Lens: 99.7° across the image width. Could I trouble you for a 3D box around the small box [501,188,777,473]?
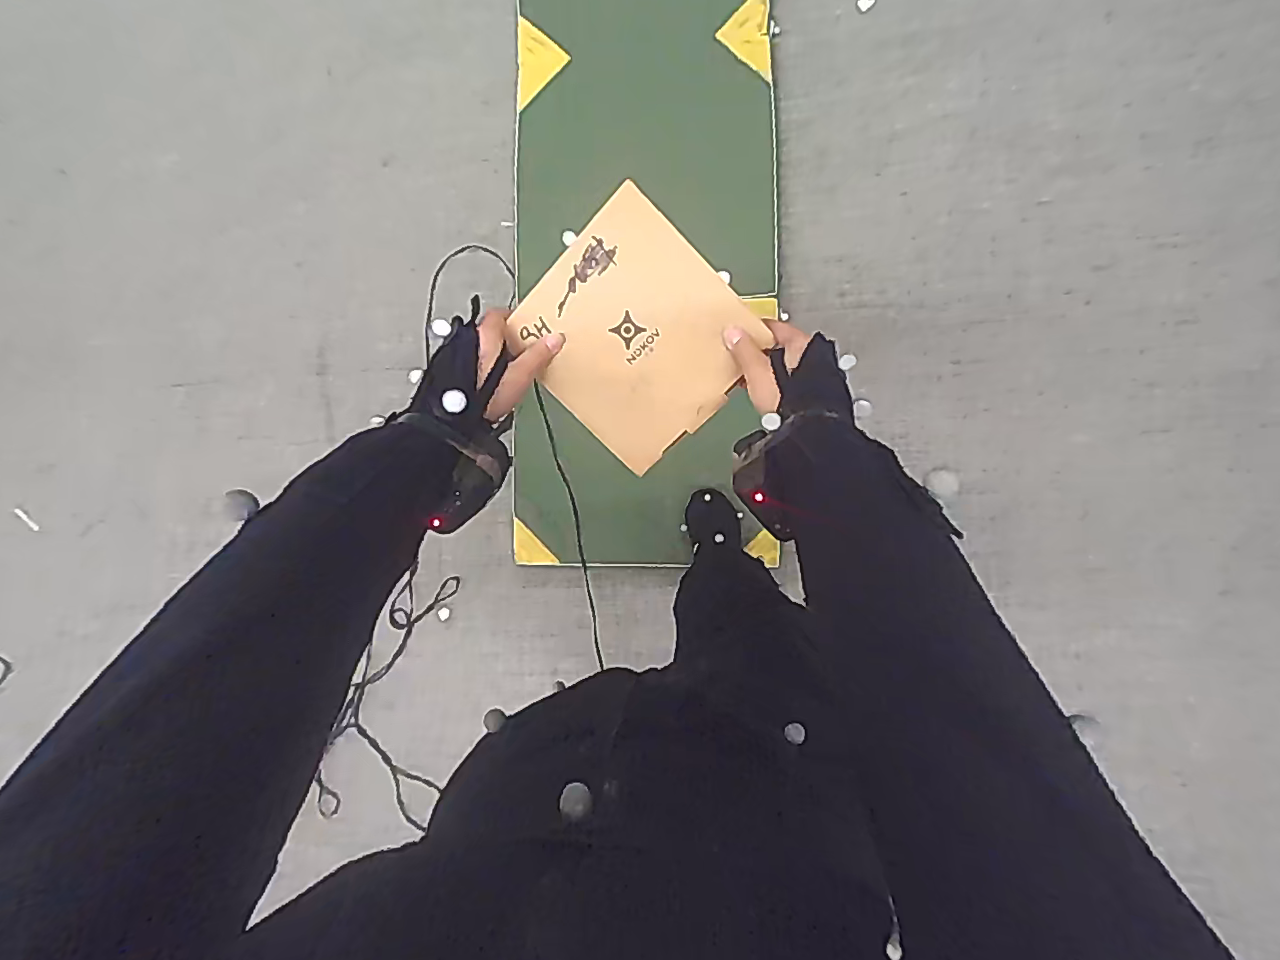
[{"bbox_3d":[0.004,-0.139,0.527,0.168,0.176,0.179,-43,98,14],"label":"small box"}]
